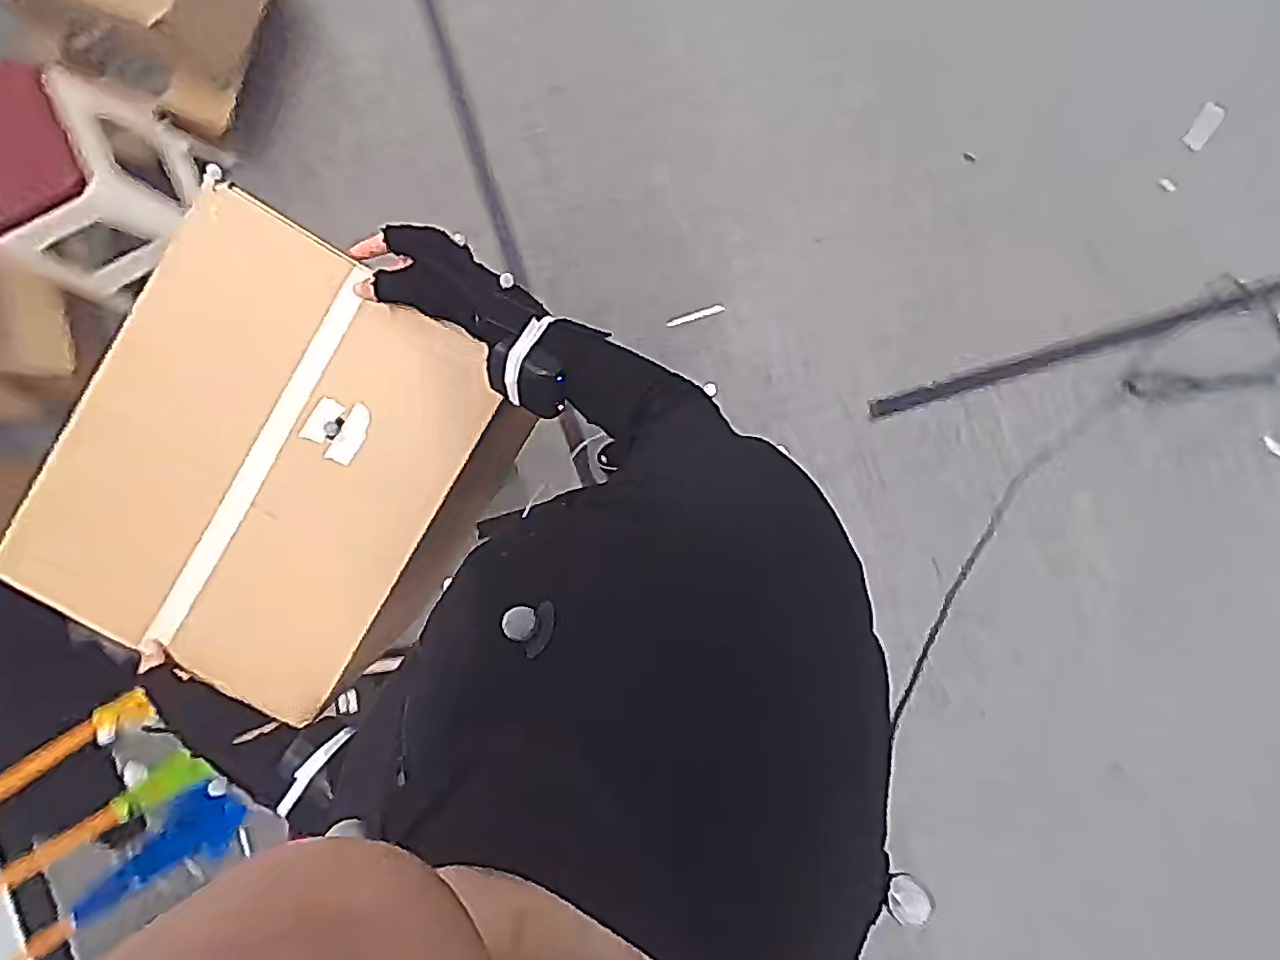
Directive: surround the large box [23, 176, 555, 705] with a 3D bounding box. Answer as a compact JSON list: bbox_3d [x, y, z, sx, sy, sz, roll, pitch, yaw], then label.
[{"bbox_3d":[-0.344,-0.036,0.650,0.320,0.320,0.408,33,91,-7],"label":"large box"}]
